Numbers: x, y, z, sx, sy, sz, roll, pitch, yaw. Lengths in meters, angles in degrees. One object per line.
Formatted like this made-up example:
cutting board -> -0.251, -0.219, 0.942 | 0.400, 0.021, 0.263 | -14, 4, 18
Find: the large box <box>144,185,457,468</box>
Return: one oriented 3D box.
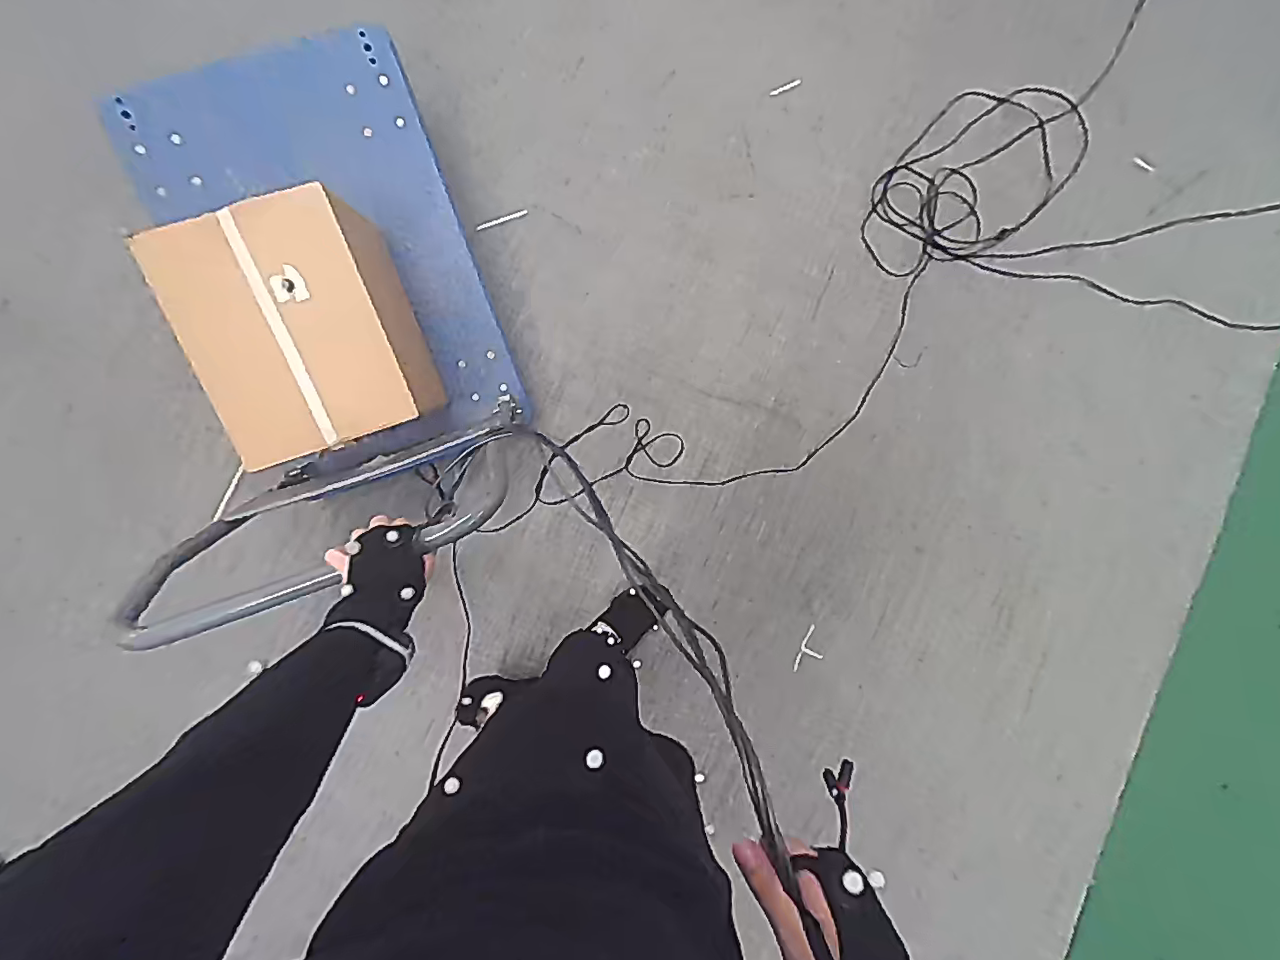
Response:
large box -> -0.608, -0.280, 1.064 | 0.320, 0.320, 0.408 | -20, 104, -5
